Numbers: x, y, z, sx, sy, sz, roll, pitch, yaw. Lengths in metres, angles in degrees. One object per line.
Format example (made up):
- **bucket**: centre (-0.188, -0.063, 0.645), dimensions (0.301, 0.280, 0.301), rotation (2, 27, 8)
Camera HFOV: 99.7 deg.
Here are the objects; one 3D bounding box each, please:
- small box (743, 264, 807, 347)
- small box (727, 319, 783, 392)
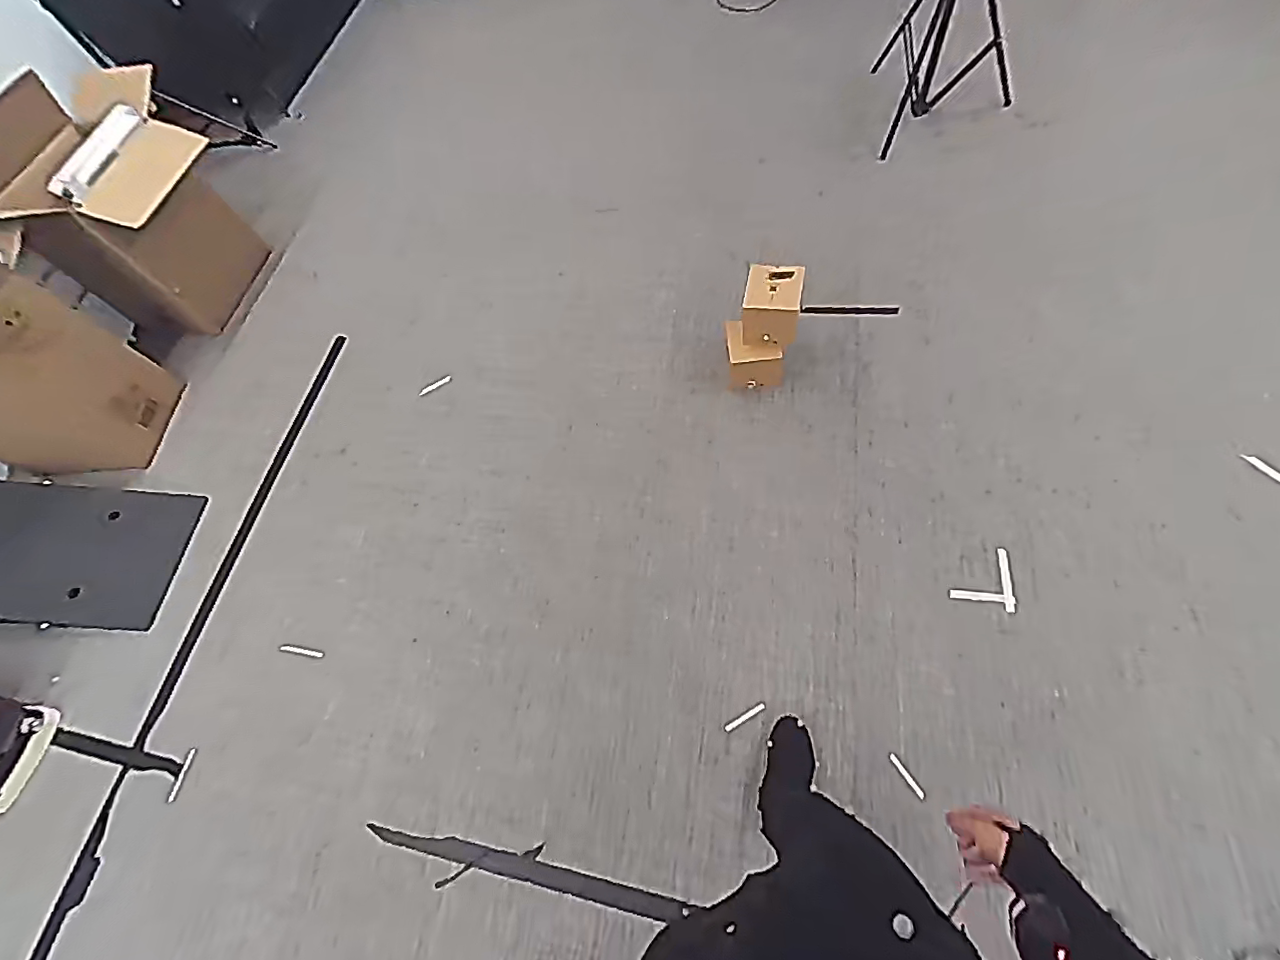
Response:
- **small box**: centre (0.413, -0.537, 1.668), dimensions (0.168, 0.176, 0.179), rotation (8, 66, 15)
- **small box**: centre (0.379, -0.418, 1.800), dimensions (0.168, 0.176, 0.179), rotation (-5, 64, 9)
